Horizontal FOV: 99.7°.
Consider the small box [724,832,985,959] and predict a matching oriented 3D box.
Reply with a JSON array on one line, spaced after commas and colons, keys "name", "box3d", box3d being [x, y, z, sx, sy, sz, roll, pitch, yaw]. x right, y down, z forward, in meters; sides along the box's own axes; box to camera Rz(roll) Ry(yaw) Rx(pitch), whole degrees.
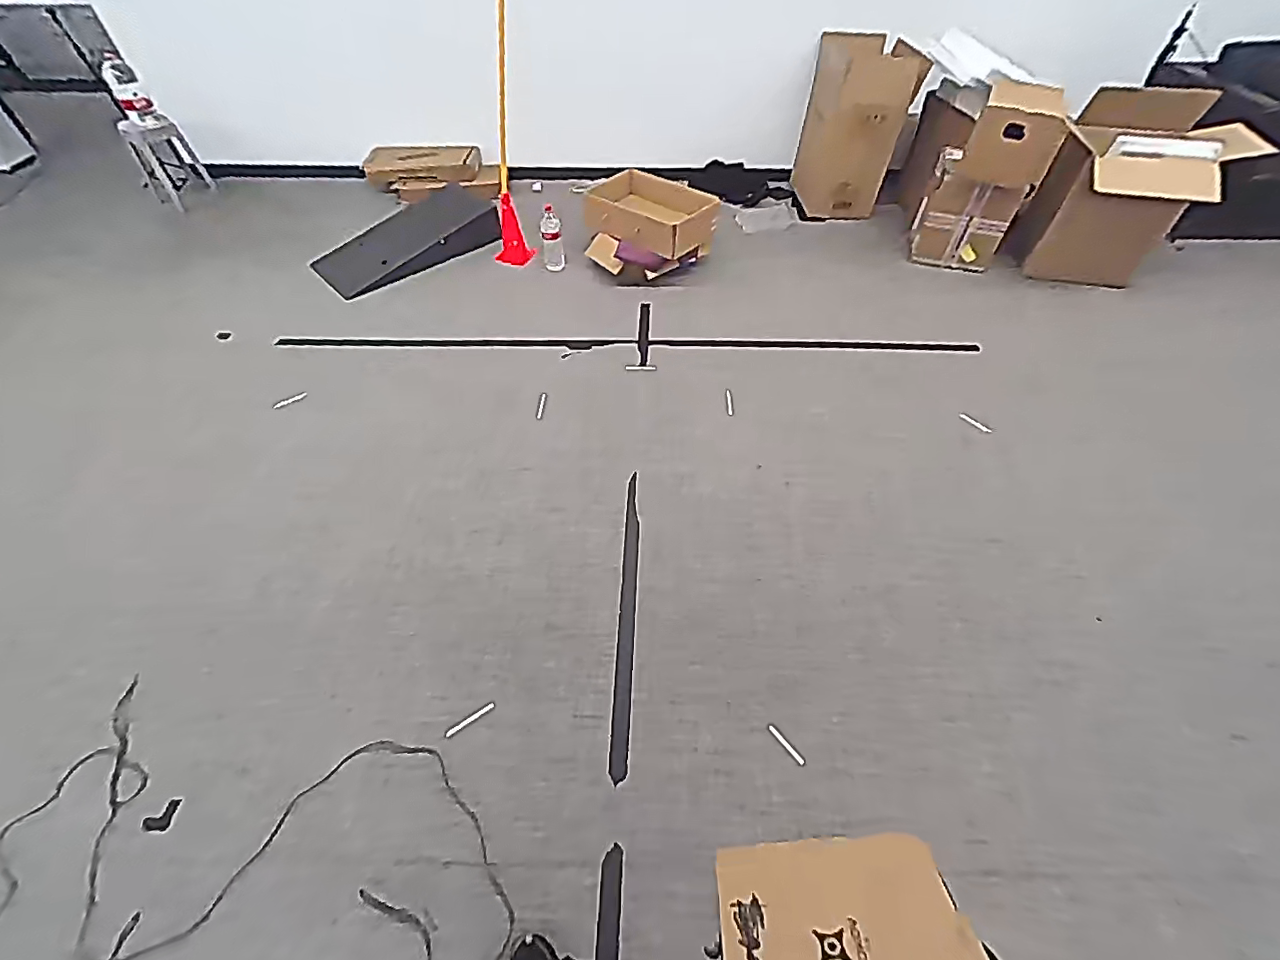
[{"name": "small box", "box3d": [0.165, 0.411, 0.416, 0.179, 0.176, 0.168, -8, 16, 6]}]
